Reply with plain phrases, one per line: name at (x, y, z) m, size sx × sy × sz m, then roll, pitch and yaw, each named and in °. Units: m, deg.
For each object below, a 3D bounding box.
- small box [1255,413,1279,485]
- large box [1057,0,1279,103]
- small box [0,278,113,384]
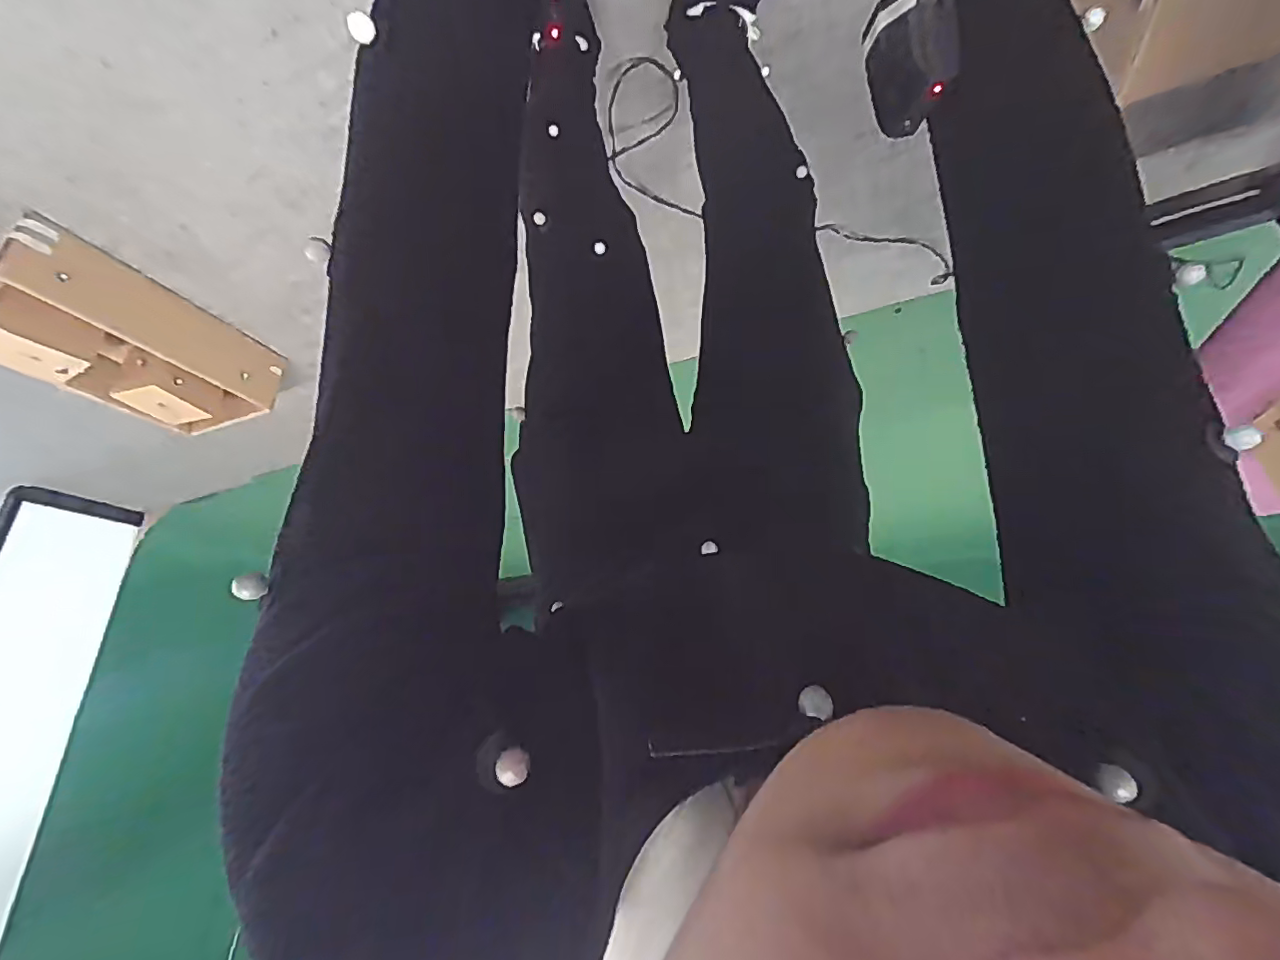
small box at (0.830, -0.030, 0.559) m, size 0.179 × 0.176 × 0.168 m, roll -11°, pitch 154°, yaw 20°
large box at (0.755, -0.735, 0.590) m, size 0.408 × 0.320 × 0.320 m, roll -12°, pitch 155°, yaw 21°
small box at (-1.470, -0.370, 1.333) m, size 0.168 × 0.176 × 0.179 m, roll -13°, pitch 155°, yaw 24°
